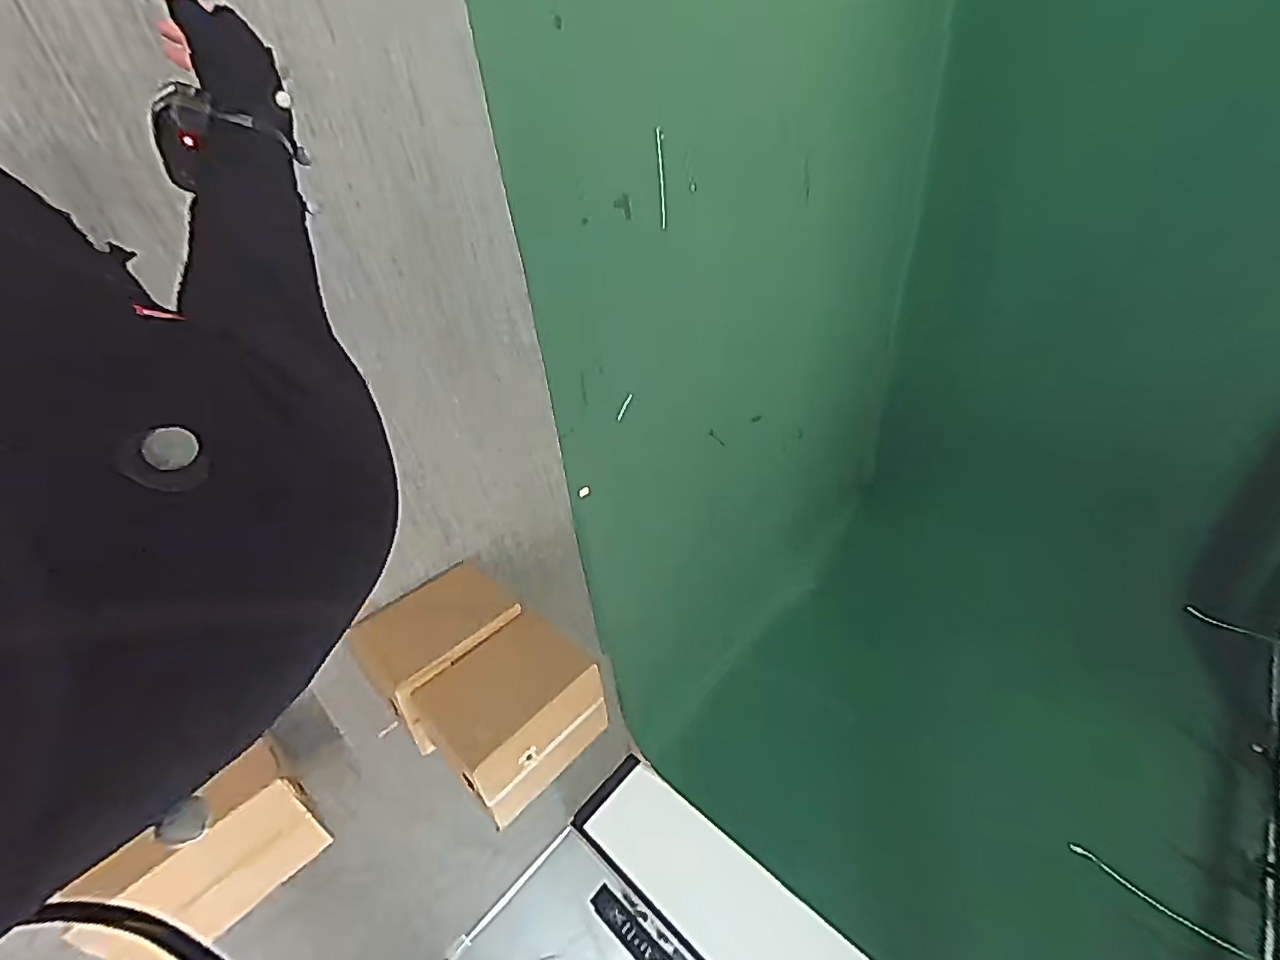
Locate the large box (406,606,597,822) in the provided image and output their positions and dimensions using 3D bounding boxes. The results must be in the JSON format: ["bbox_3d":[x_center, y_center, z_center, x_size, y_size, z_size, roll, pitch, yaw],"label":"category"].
[{"bbox_3d":[-0.379,0.648,1.553,0.408,0.320,0.320,-33,135,-35],"label":"large box"}]
